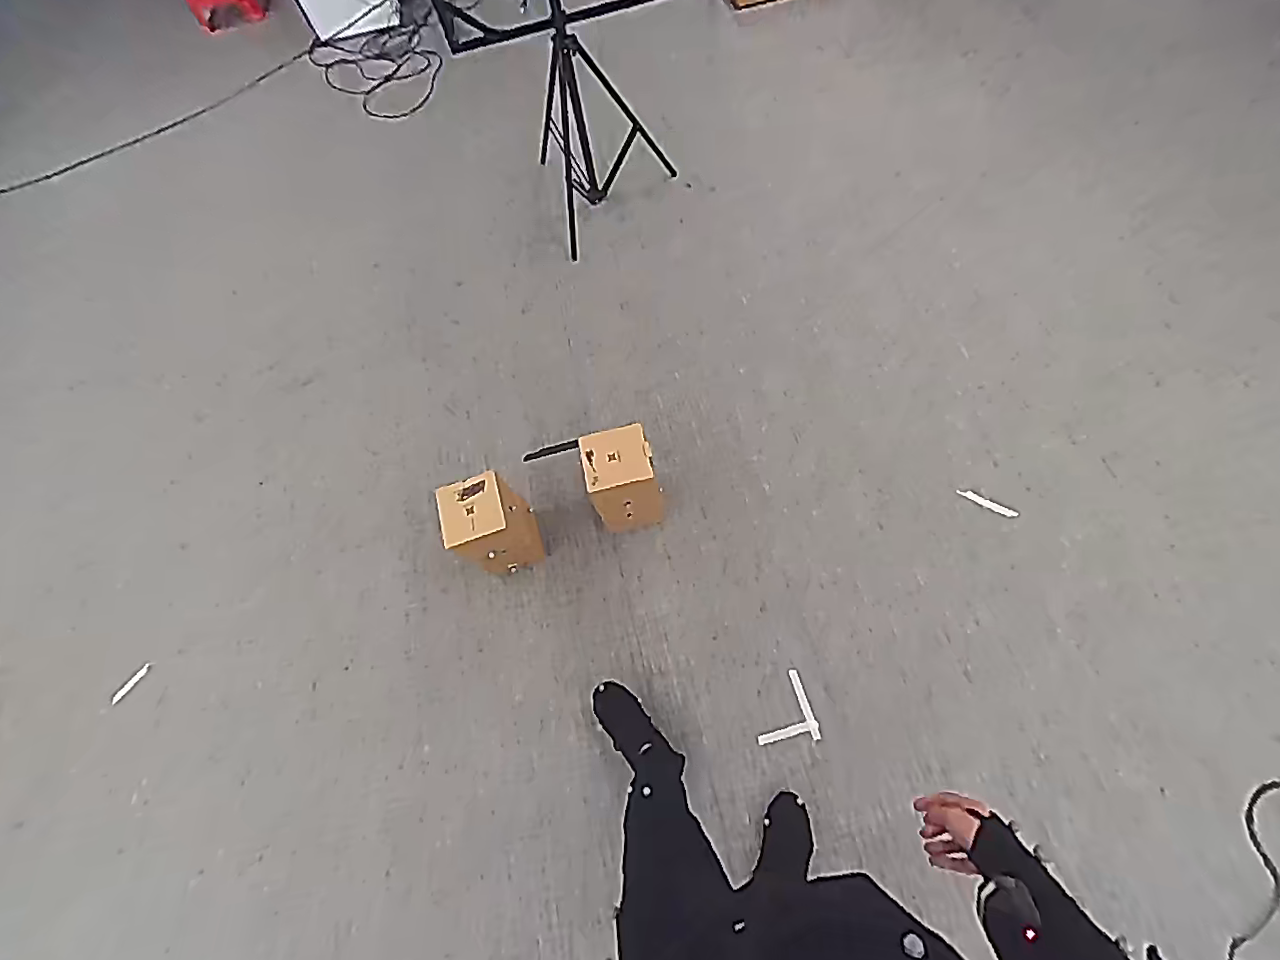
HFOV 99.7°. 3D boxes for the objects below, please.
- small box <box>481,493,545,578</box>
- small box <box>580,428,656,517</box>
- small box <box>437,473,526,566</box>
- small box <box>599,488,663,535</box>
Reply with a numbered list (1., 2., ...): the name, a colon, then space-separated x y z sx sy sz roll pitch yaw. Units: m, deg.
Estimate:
1. small box: -0.398 0.170 1.609 0.168 0.176 0.179 -21 65 -2
2. small box: -0.054 -0.016 1.466 0.179 0.176 0.168 -12 65 1
3. small box: -0.423 0.111 1.458 0.168 0.176 0.179 -19 66 0
4. small box: -0.035 0.051 1.615 0.179 0.176 0.168 -14 66 0
